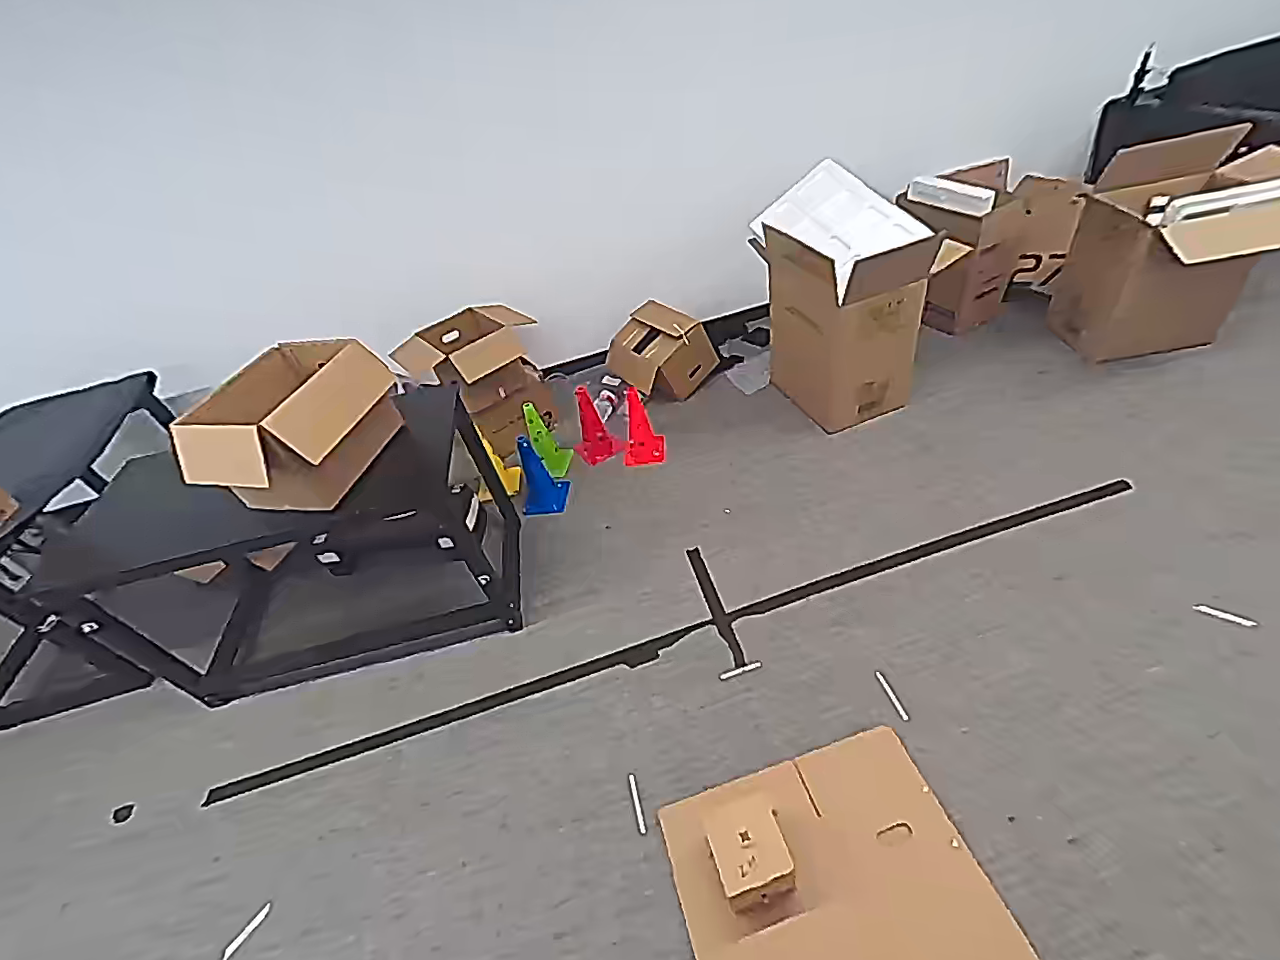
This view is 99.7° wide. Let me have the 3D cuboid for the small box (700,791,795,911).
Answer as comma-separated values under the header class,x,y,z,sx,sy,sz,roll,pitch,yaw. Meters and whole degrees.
class,x,y,z,sx,sy,sz,roll,pitch,yaw
small box,0.256,0.891,1.297,0.168,0.176,0.179,-19,42,-5
